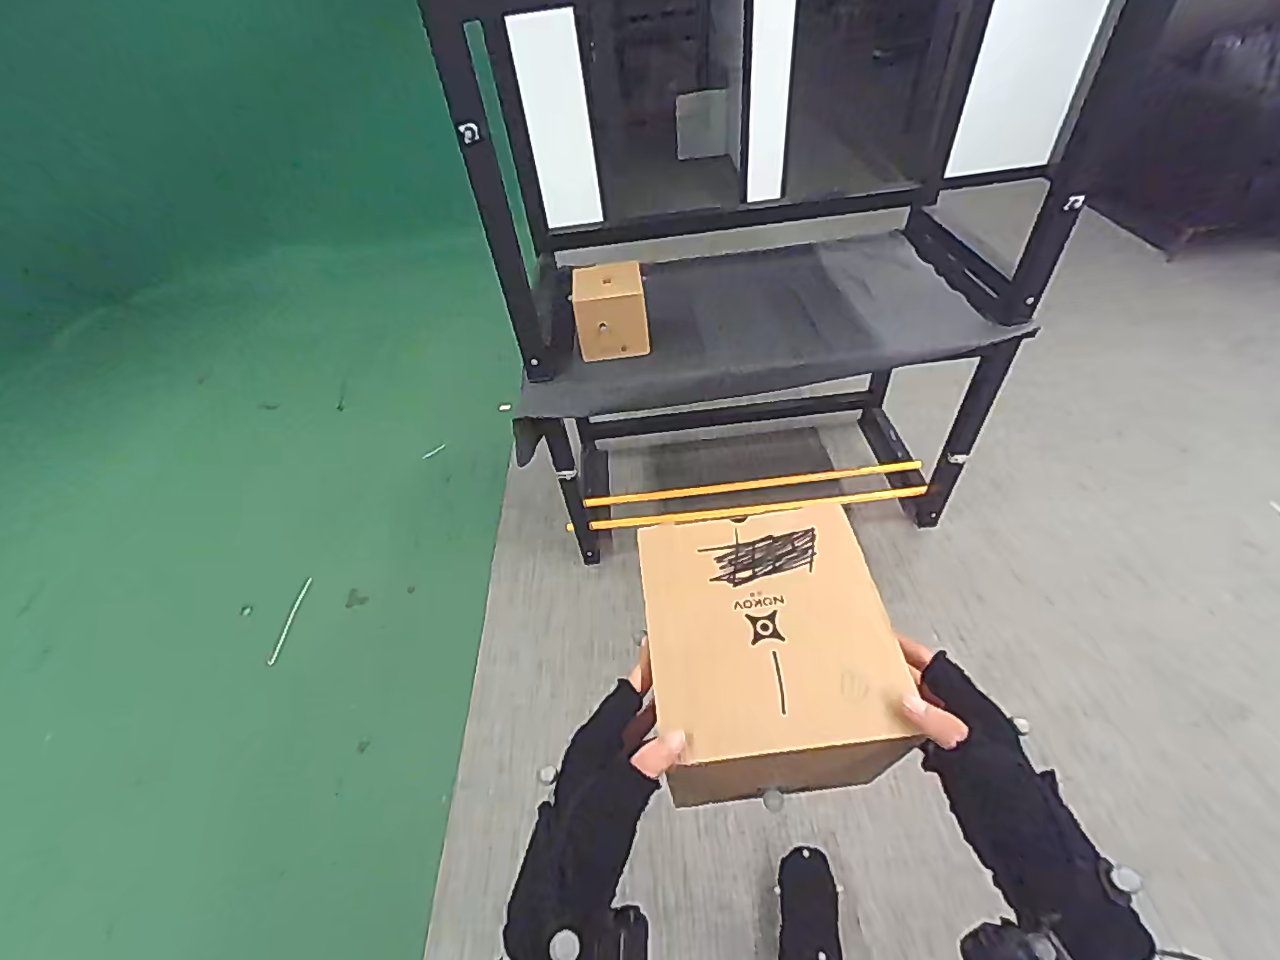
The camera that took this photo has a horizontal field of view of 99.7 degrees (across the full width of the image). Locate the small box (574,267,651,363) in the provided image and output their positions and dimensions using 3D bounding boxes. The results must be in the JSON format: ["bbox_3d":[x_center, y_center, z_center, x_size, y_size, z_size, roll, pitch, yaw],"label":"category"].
[{"bbox_3d":[-0.066,-0.404,1.344,0.168,0.176,0.179,-7,44,1],"label":"small box"}]
